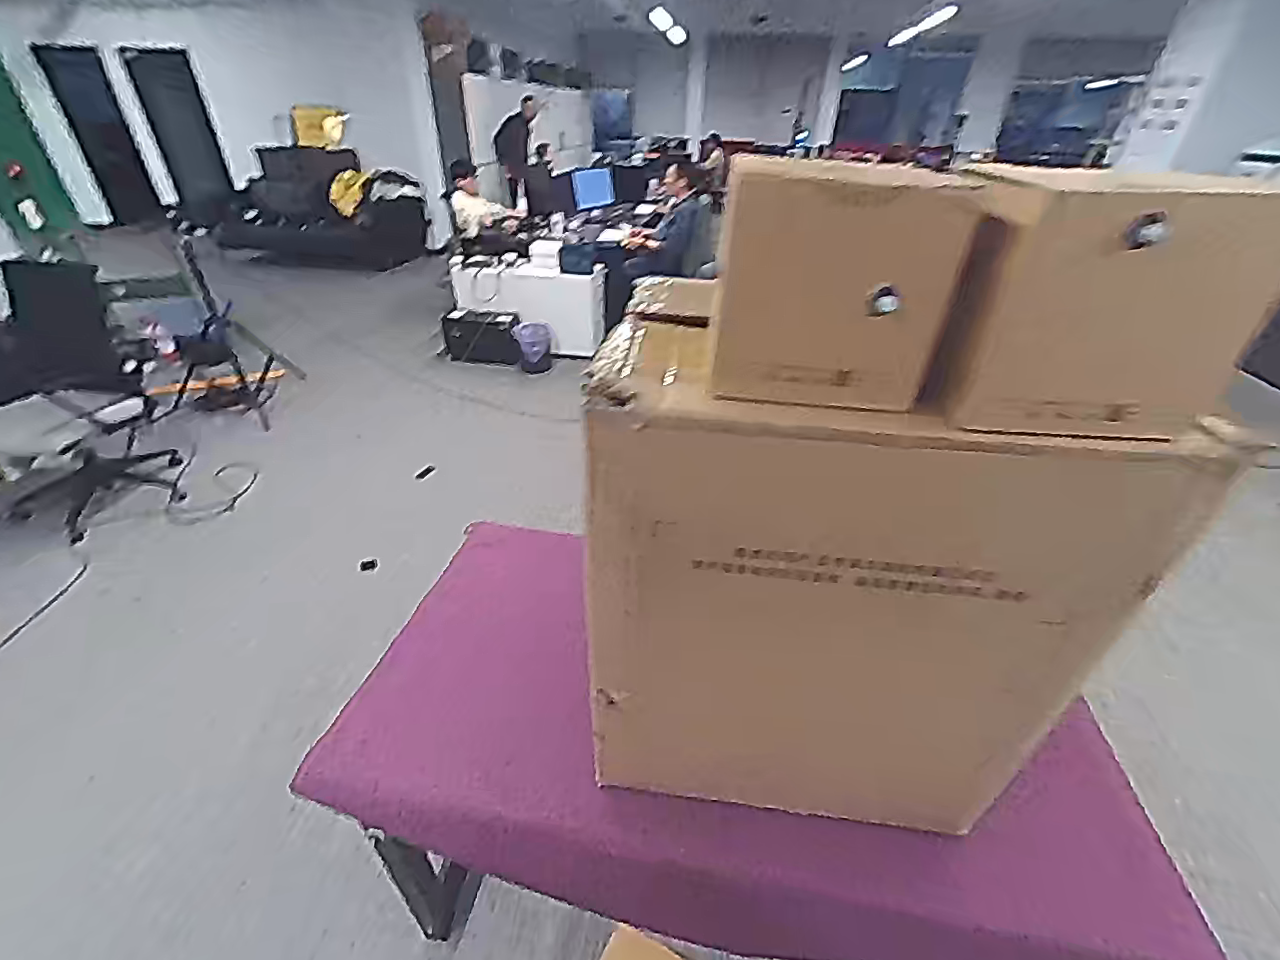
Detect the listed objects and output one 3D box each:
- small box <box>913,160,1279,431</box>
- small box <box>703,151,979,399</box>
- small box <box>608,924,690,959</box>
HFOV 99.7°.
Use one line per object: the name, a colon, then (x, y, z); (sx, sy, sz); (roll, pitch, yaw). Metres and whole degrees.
small box: (0.335, -0.156, 0.436); (0.168, 0.176, 0.179); (4, 33, 5)
small box: (0.148, -0.182, 0.472); (0.168, 0.176, 0.179); (6, 33, 2)
small box: (0.009, 0.598, 0.511); (0.168, 0.176, 0.179); (23, 11, 5)
